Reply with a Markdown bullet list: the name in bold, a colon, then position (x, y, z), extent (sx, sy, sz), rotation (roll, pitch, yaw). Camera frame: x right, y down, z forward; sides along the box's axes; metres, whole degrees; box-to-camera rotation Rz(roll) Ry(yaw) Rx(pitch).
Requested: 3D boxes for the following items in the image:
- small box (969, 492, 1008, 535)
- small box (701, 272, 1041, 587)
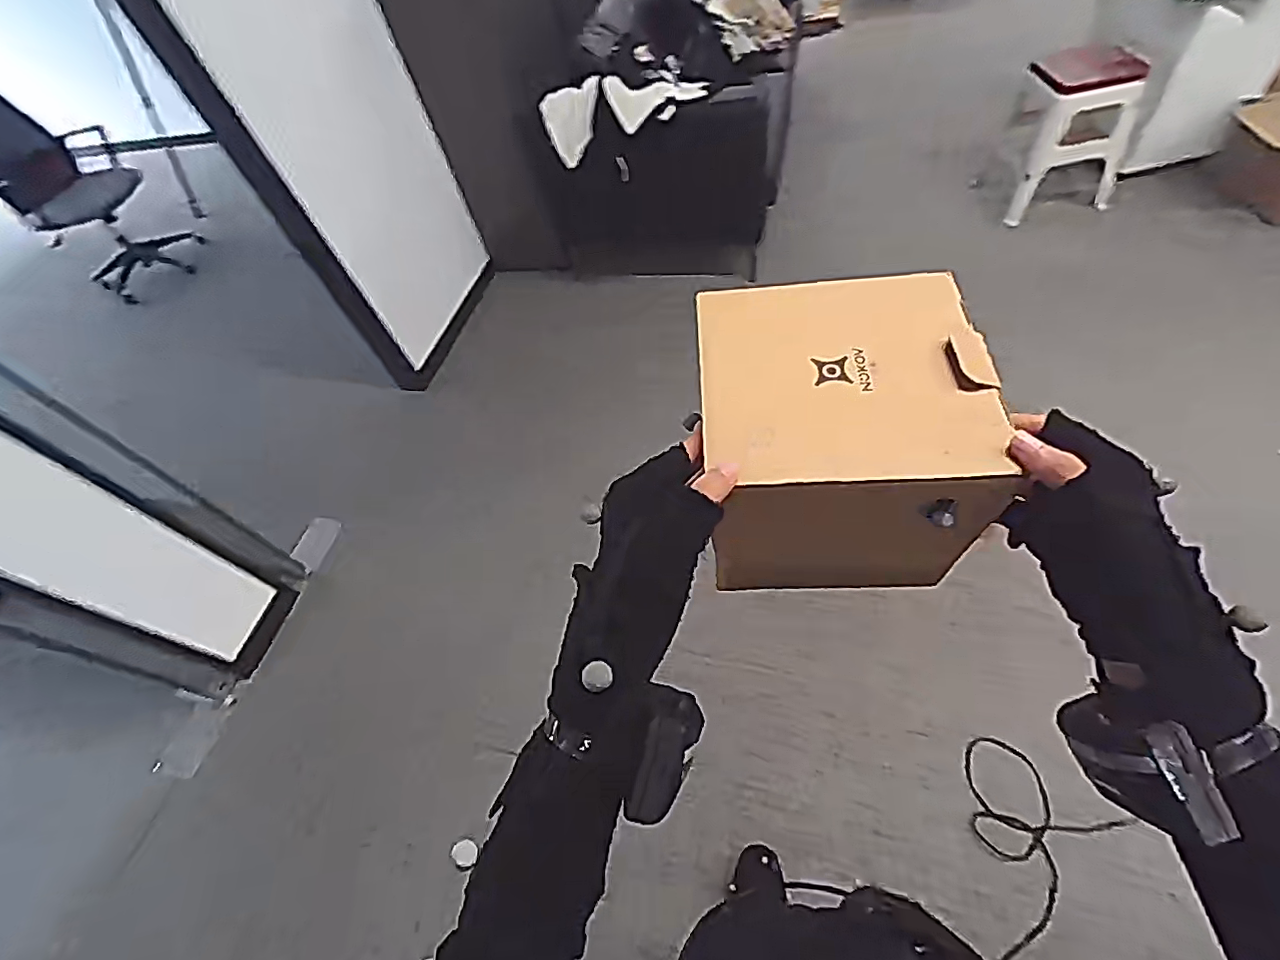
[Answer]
- **small box**: position (0.880, 0.030, 1.489), extent (0.168, 0.176, 0.179), rotation (4, 56, 15)
- **small box**: position (0.139, -0.025, 0.402), extent (0.179, 0.176, 0.168), rotation (-2, 59, 7)
